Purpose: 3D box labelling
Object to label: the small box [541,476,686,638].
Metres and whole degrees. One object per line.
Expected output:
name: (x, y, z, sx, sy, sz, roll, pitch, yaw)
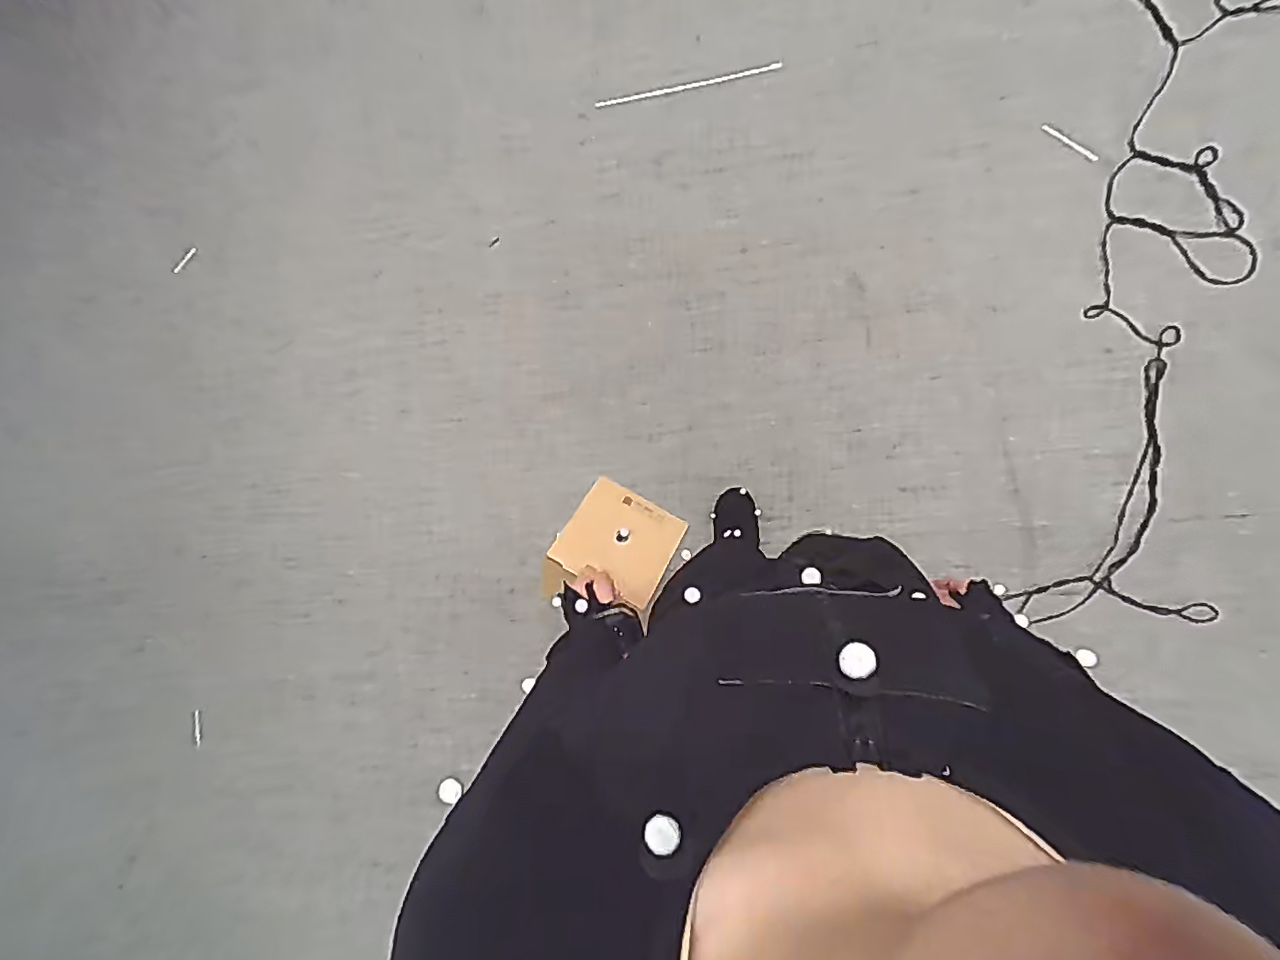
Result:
small box: (-0.041, 0.125, 0.885, 0.168, 0.179, 0.176, 30, 56, 4)
